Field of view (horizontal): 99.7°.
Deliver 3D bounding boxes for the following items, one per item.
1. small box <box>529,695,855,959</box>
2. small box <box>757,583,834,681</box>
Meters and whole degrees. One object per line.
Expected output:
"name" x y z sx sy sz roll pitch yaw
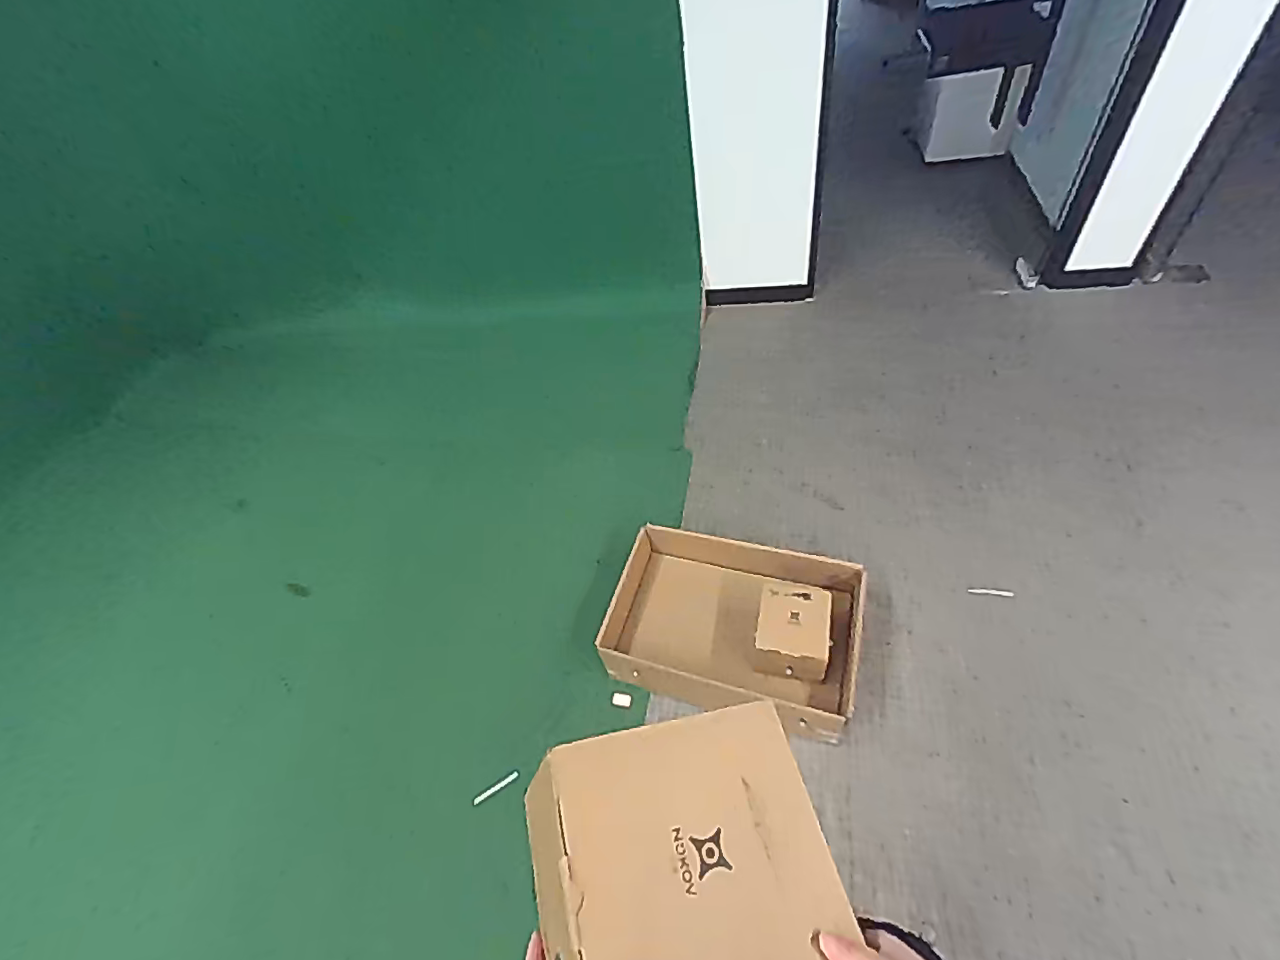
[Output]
"small box" 0.014 0.284 0.406 0.179 0.176 0.168 -3 53 -20
"small box" 0.390 0.383 1.349 0.168 0.176 0.179 5 53 18
